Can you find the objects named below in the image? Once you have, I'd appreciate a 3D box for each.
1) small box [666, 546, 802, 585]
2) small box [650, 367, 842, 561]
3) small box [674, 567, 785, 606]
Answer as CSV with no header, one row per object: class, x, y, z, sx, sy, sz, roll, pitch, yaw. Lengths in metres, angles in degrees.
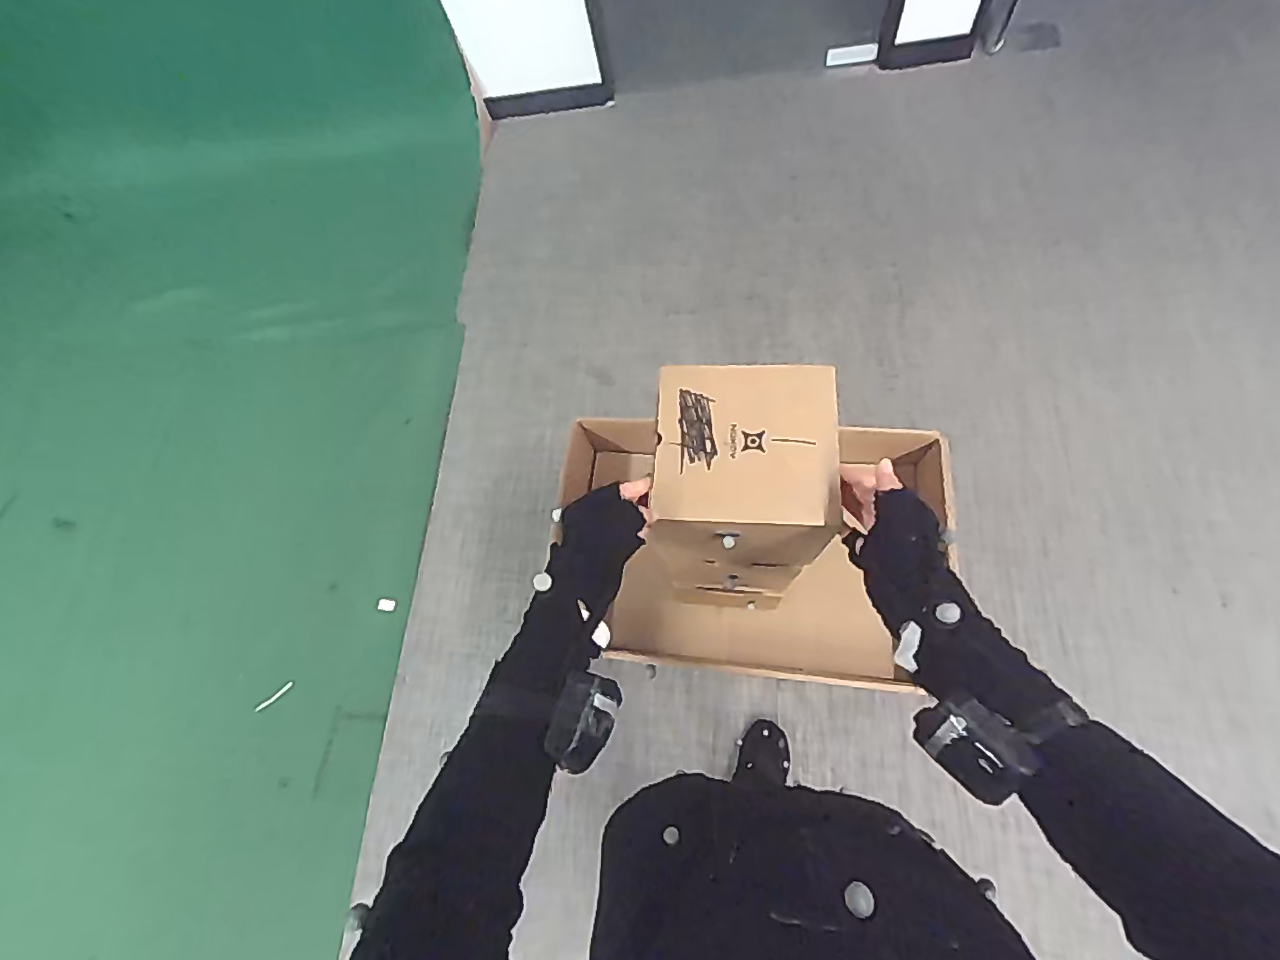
small box,0.132,0.044,0.749,0.168,0.176,0.179,3,71,9
small box,0.111,-0.009,0.594,0.179,0.176,0.168,2,71,8
small box,0.151,0.109,0.899,0.168,0.176,0.179,3,69,9
